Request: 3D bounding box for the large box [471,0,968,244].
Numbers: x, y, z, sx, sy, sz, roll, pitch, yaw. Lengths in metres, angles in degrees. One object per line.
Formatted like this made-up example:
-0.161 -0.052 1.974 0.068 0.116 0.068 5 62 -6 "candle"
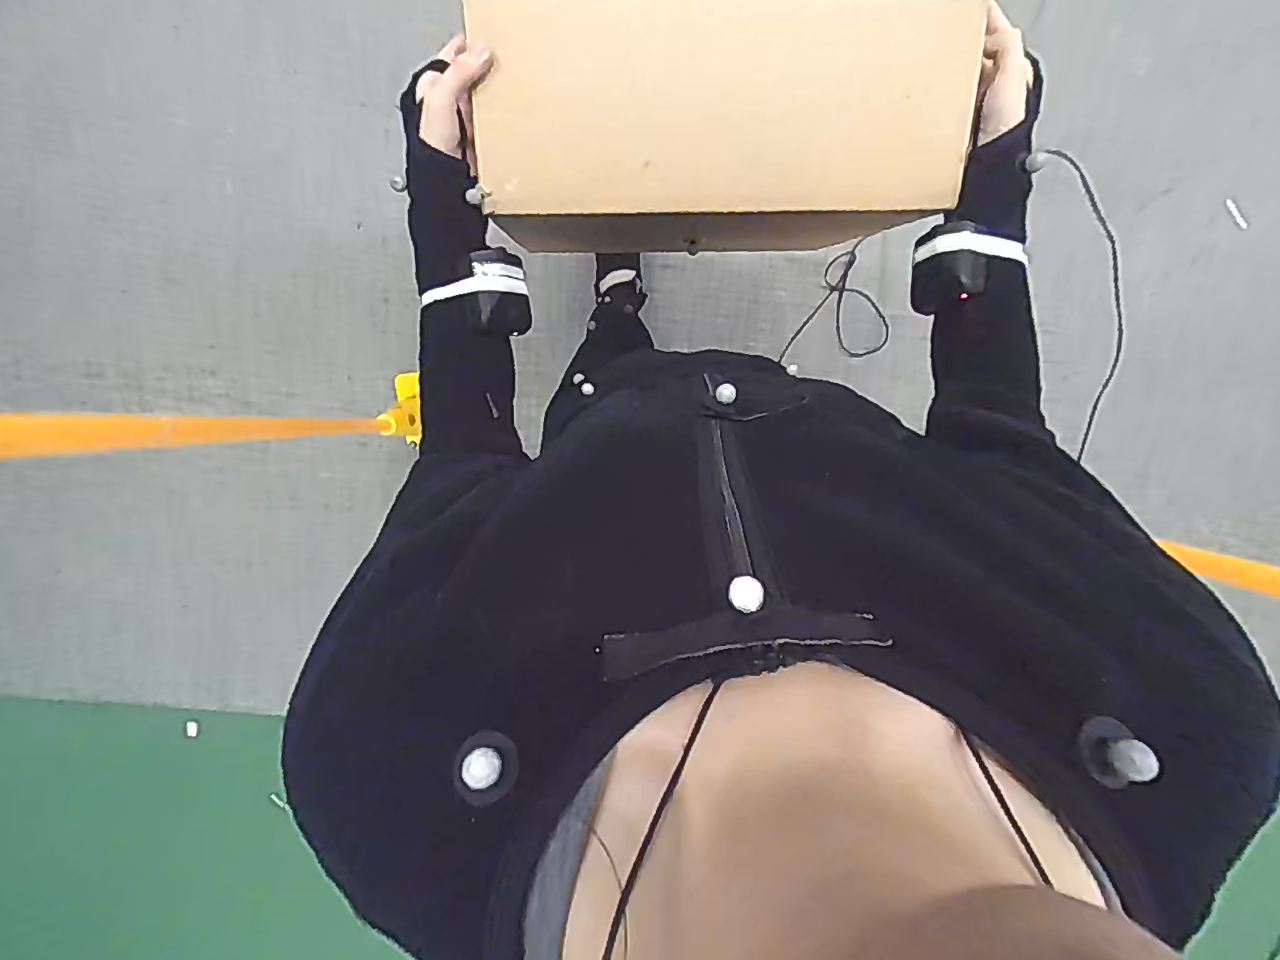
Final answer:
0.060 -0.430 0.563 0.408 0.320 0.320 -2 107 -3 "large box"
